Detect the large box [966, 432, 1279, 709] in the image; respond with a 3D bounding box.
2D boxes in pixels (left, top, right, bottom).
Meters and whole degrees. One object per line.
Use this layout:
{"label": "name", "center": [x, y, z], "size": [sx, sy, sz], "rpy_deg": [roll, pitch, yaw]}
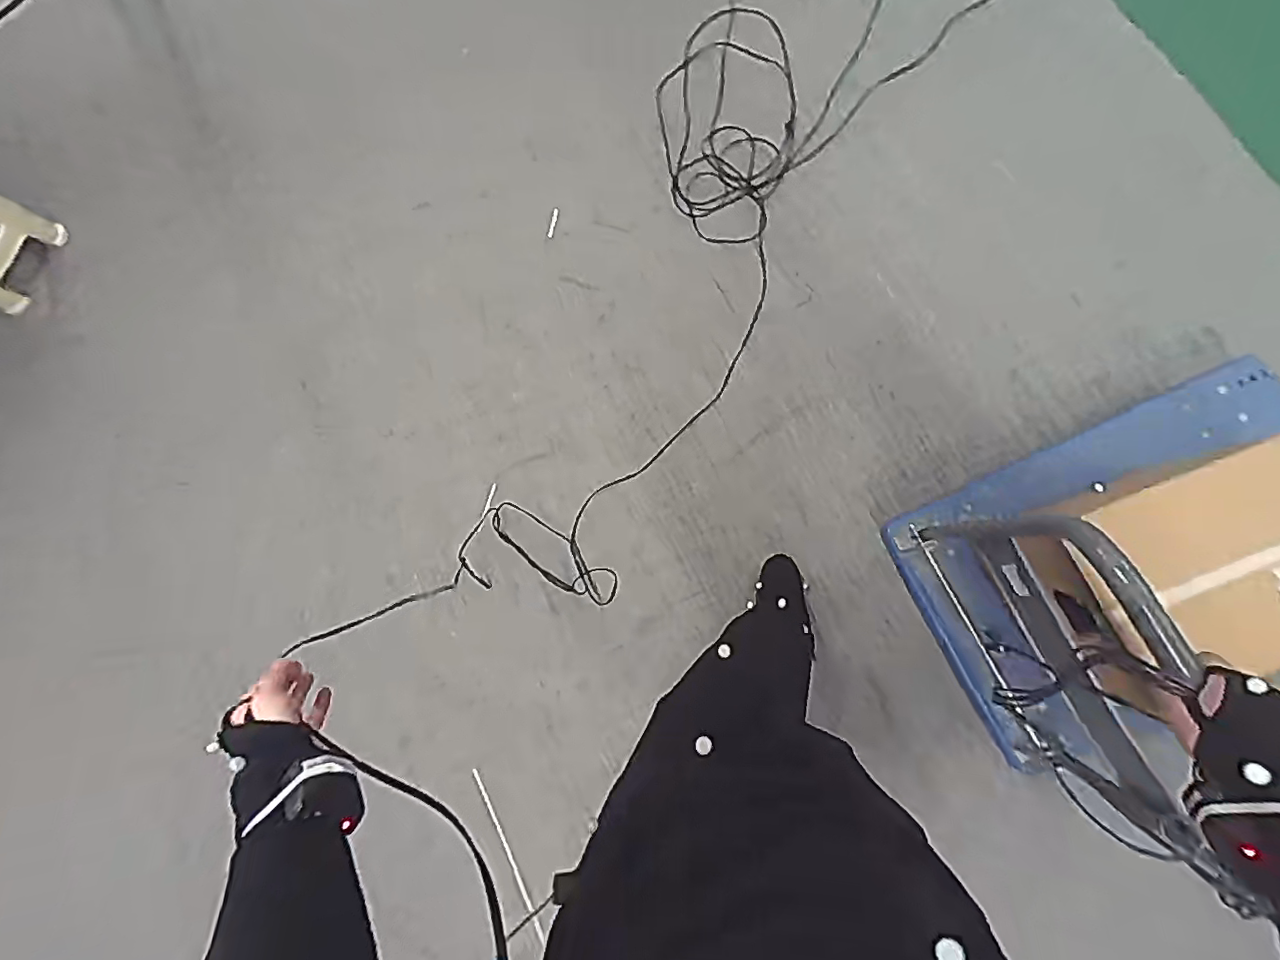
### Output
{"label": "large box", "center": [0.925, 0.164, 0.998], "size": [0.408, 0.320, 0.320], "rpy_deg": [-24, 79, 4]}
